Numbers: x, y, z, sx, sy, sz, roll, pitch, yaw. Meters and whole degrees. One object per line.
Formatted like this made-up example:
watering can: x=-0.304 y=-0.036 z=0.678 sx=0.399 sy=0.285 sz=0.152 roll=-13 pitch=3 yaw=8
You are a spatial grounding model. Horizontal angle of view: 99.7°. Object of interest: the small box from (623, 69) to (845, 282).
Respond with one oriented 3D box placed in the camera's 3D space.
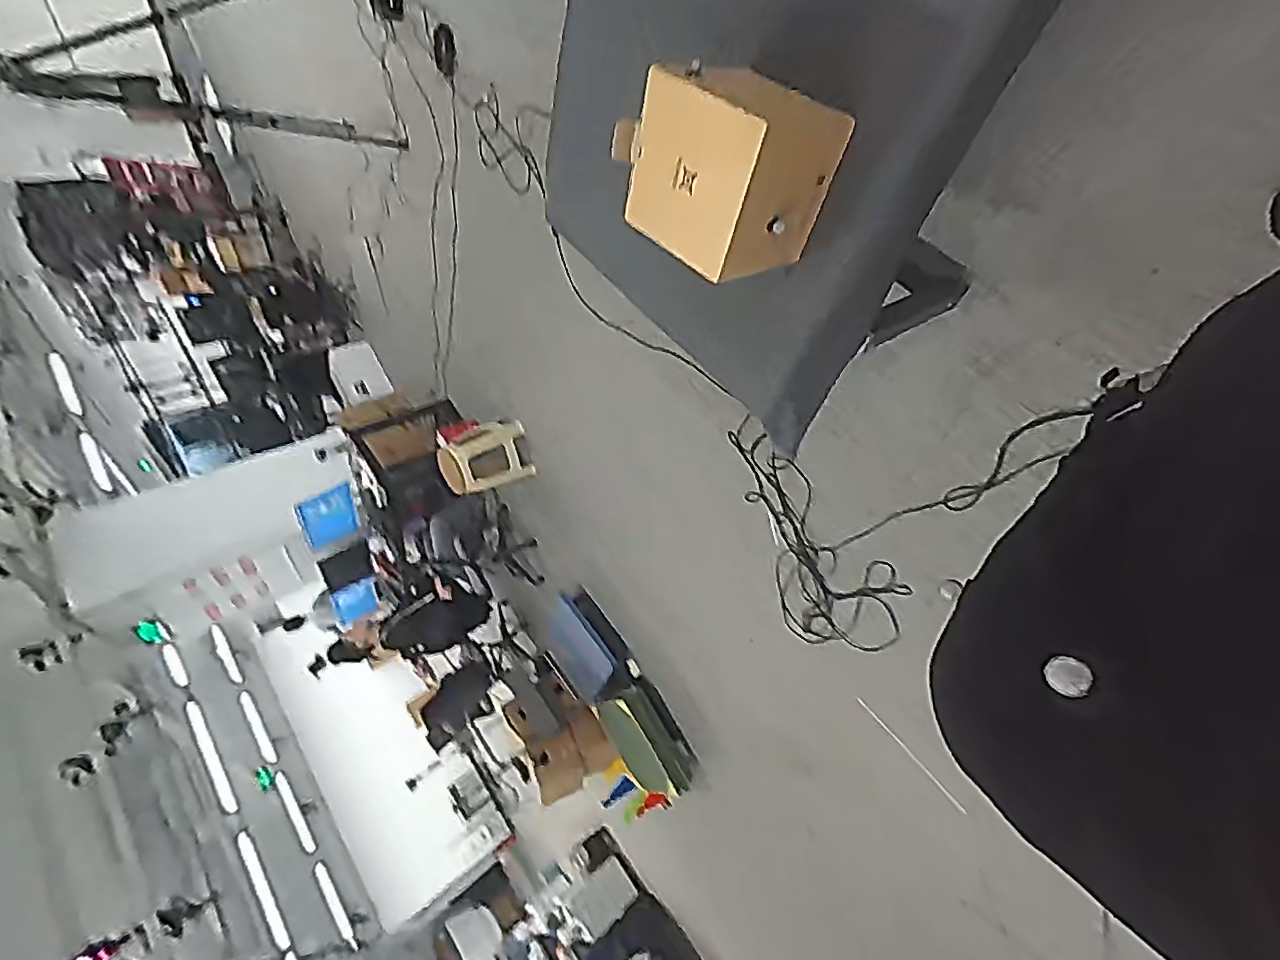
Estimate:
small box: x=0.107 y=-0.367 z=0.646 sx=0.179 sy=0.176 sz=0.168 roll=45 pitch=142 yaw=25
